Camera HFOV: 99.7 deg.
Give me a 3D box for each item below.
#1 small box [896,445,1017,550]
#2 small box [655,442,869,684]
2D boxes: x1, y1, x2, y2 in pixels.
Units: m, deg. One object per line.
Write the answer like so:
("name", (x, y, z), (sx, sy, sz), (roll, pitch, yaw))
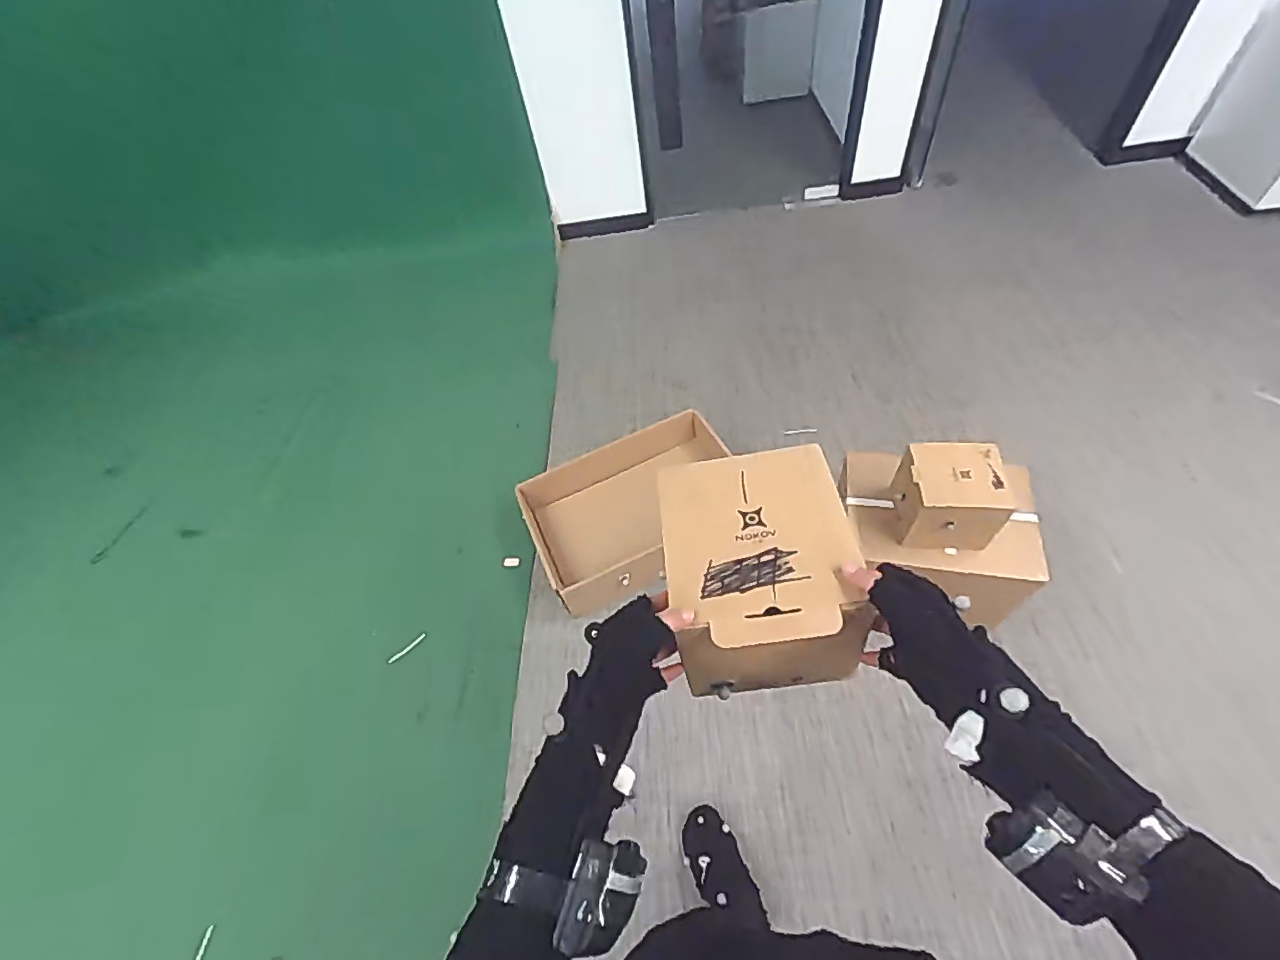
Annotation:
("small box", (0.667, 0.040, 1.169), (0.179, 0.176, 0.168), (0, 55, 10))
("small box", (0.114, 0.092, 0.545), (0.168, 0.176, 0.179), (-10, 48, 6))
